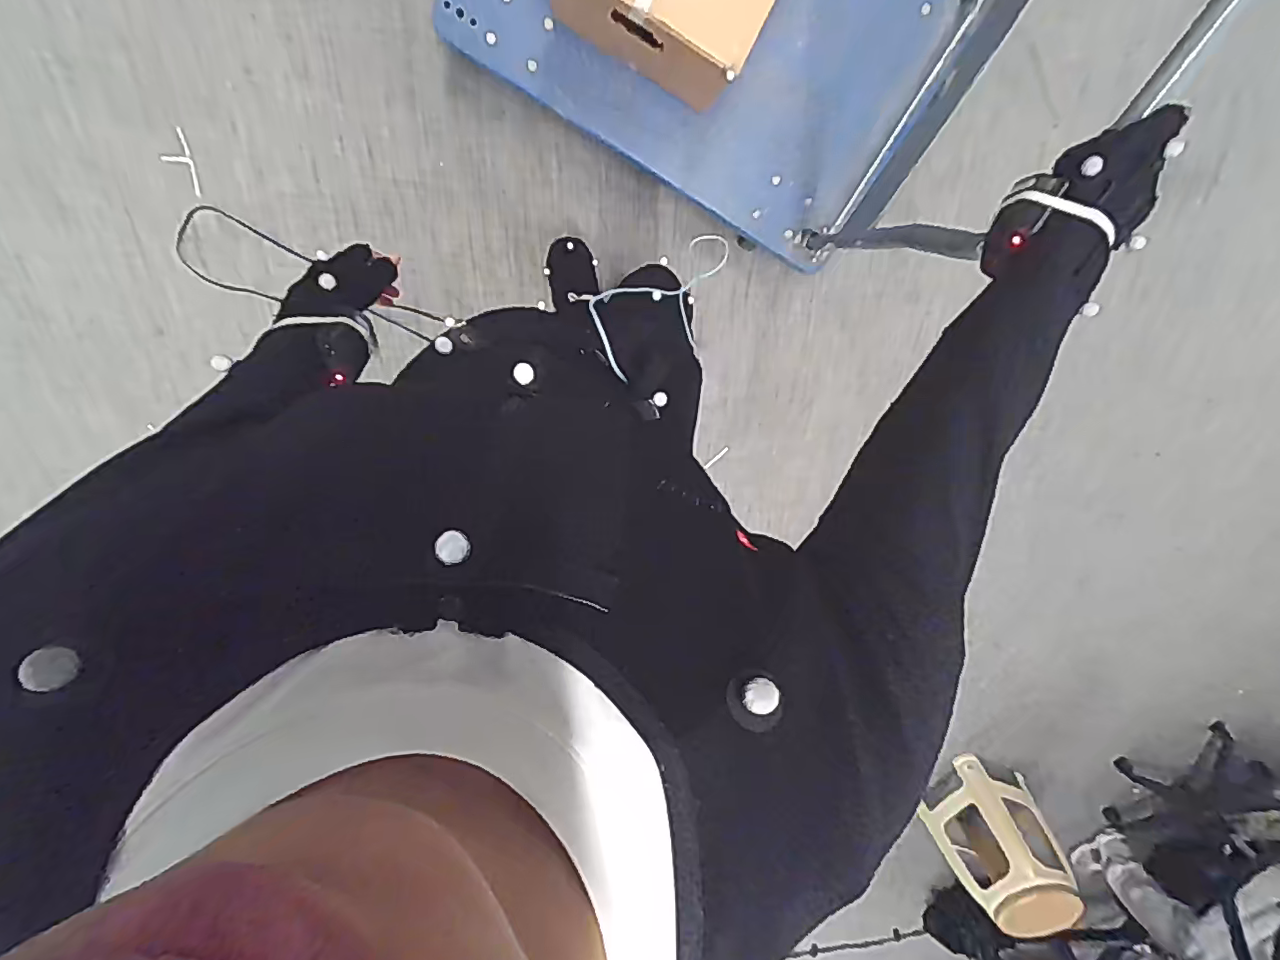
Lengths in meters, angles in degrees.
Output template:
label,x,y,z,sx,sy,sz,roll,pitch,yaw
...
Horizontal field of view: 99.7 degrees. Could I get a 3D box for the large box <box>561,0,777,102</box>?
label,x,y,z,sx,sy,sz,roll,pitch,yaw
large box,0.089,-0.858,0.778,0.320,0.320,0.408,24,114,-12
